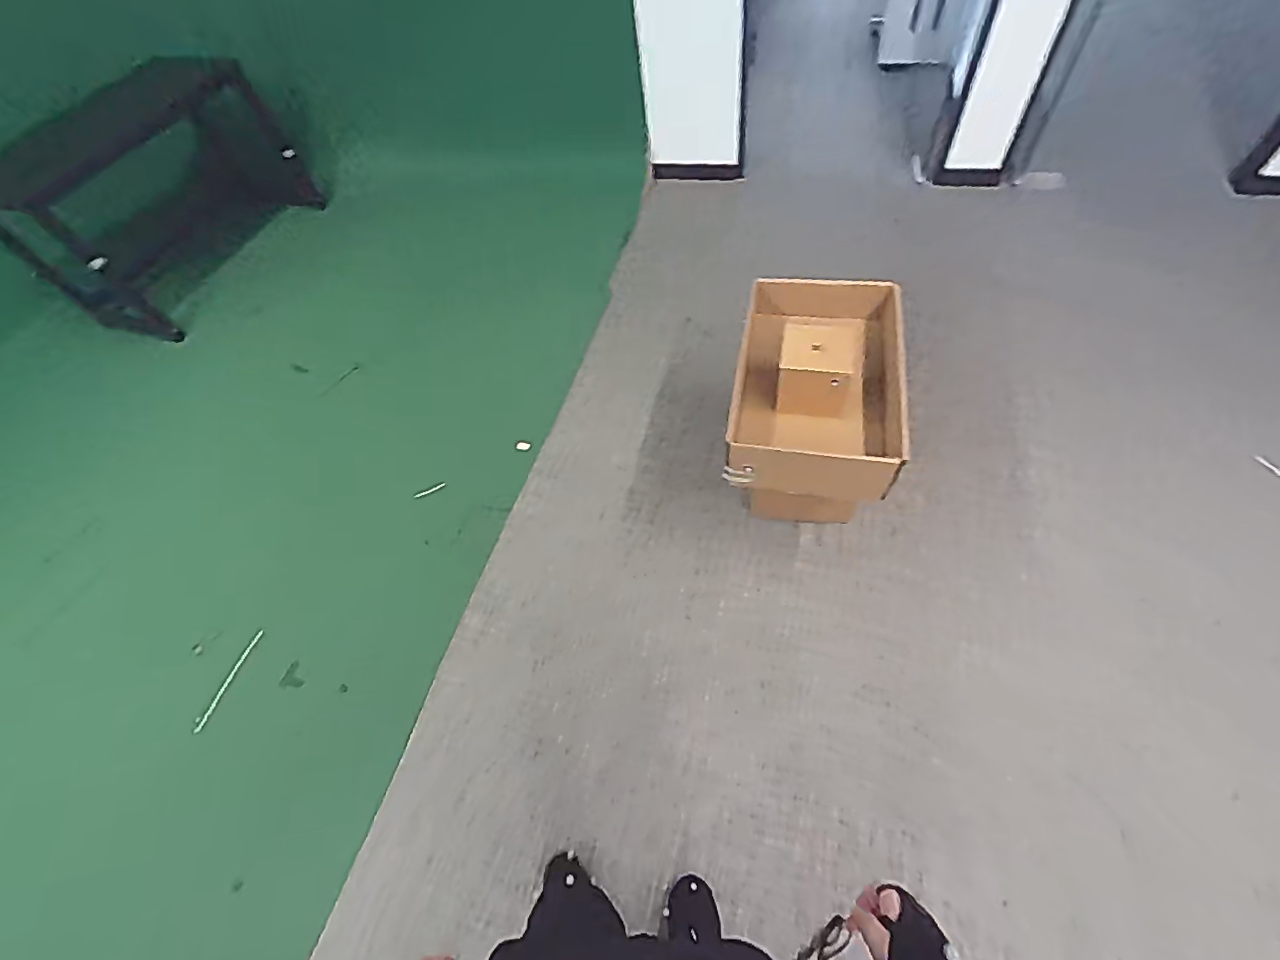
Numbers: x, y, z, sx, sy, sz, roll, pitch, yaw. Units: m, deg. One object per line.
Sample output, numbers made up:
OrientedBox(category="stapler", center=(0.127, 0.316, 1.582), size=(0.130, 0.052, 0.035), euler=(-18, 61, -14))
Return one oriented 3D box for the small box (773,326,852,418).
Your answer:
OrientedBox(category="small box", center=(0.447, -0.280, 1.416), size=(0.179, 0.176, 0.168), euler=(8, 57, 12))
